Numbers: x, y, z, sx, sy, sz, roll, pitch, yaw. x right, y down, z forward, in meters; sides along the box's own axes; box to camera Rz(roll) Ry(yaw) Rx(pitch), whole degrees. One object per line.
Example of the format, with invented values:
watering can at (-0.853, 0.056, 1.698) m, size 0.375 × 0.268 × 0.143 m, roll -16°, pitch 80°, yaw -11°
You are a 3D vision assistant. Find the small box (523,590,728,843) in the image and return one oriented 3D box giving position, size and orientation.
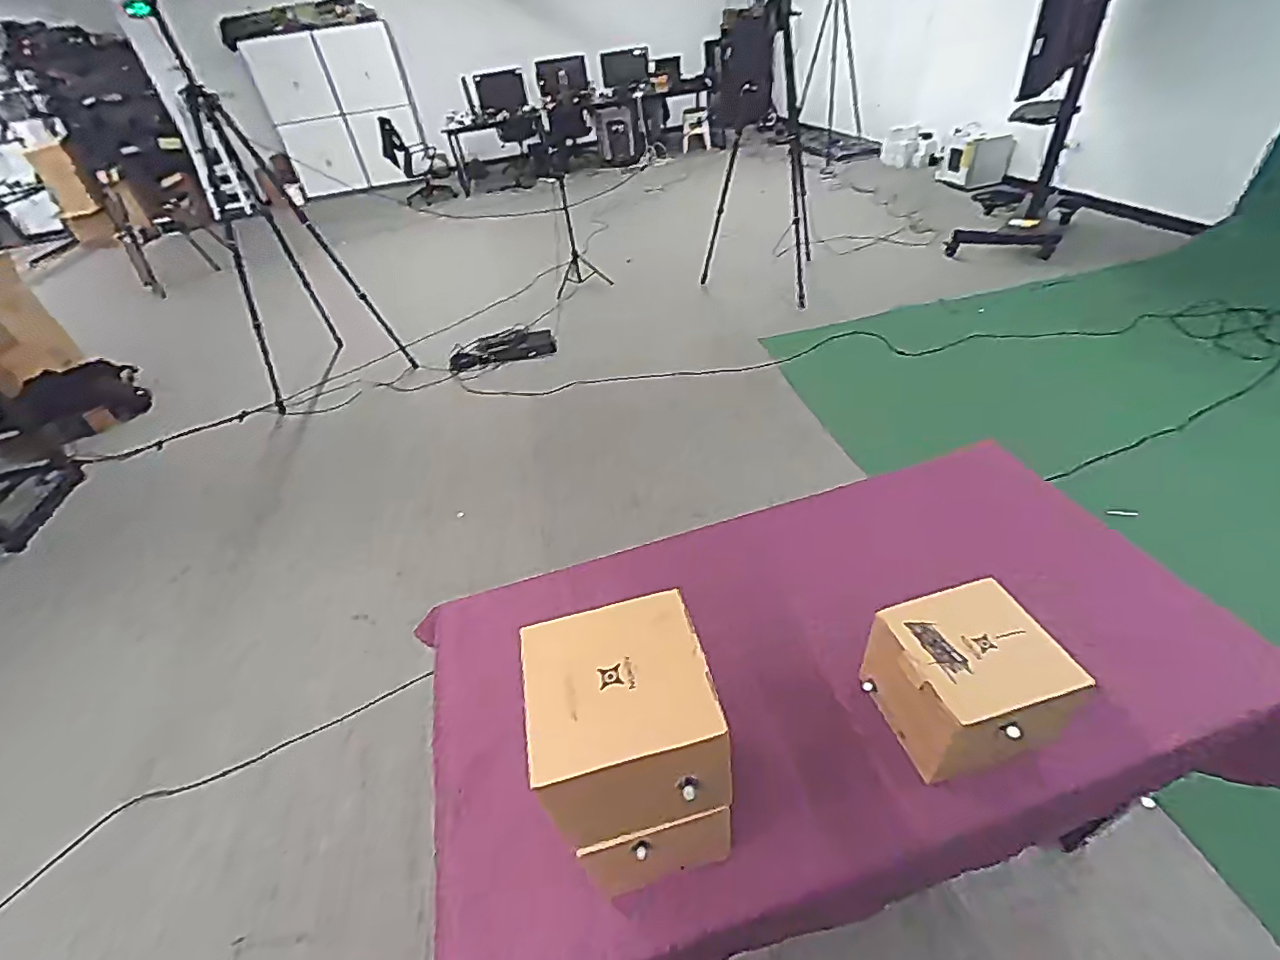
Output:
small box at (-0.015, 0.248, 0.571) m, size 0.179 × 0.176 × 0.168 m, roll -14°, pitch 40°, yaw -4°

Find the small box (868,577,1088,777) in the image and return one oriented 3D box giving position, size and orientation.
small box at (0.425, 0.263, 0.721) m, size 0.179 × 0.176 × 0.168 m, roll -14°, pitch 41°, yaw -6°

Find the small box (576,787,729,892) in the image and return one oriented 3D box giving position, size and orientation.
small box at (0.005, 0.372, 0.677) m, size 0.168 × 0.176 × 0.179 m, roll -14°, pitch 40°, yaw -5°
